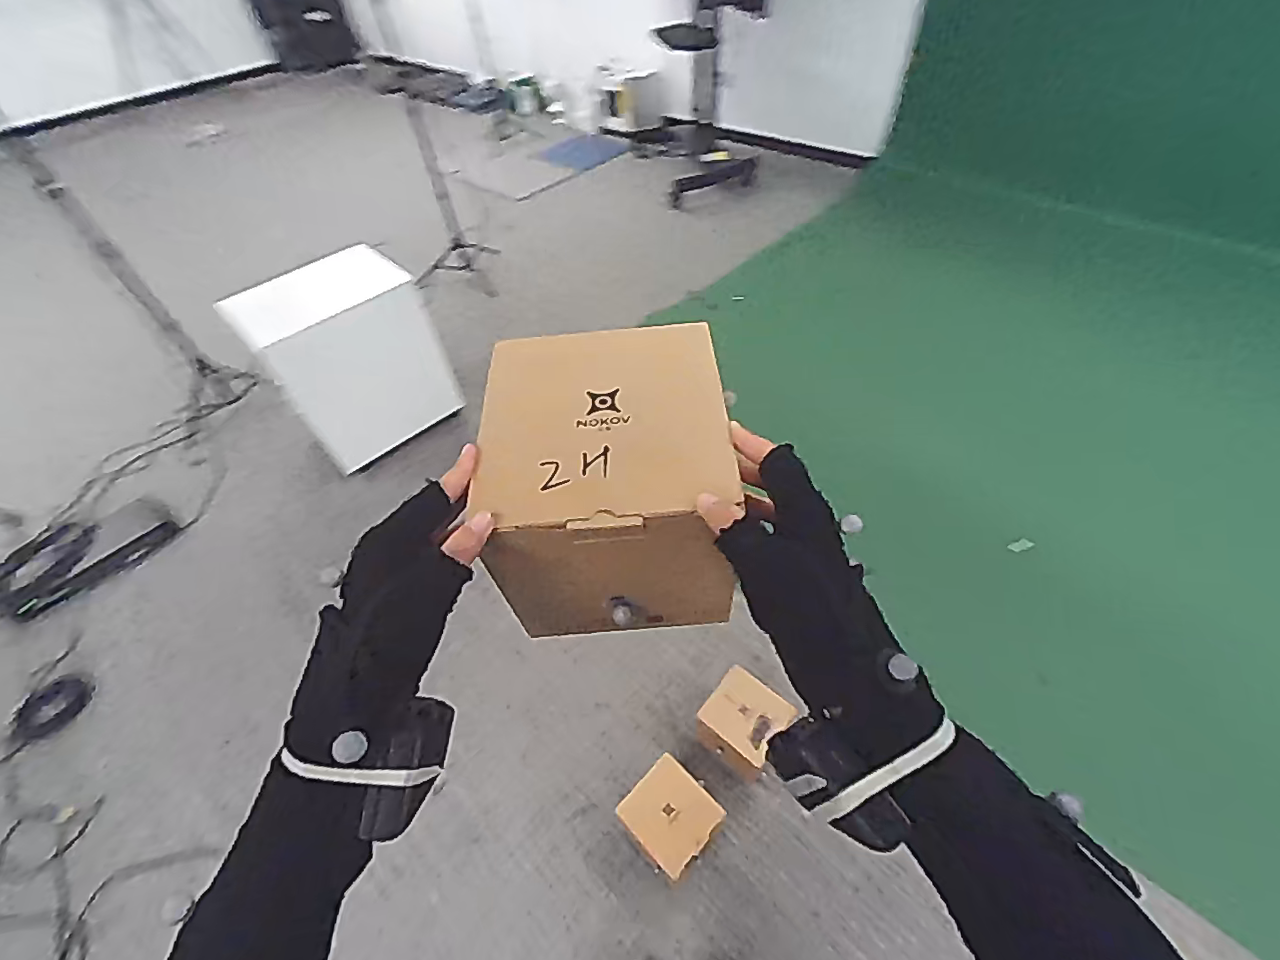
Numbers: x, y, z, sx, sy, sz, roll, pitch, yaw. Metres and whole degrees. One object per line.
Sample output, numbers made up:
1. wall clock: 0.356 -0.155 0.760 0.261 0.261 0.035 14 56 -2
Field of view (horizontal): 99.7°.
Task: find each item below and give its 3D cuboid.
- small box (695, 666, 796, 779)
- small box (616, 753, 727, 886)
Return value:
1. small box: 0.250 0.592 1.308 0.179 0.176 0.168 31 58 28
2. small box: 0.068 0.748 1.186 0.179 0.176 0.168 35 59 29
